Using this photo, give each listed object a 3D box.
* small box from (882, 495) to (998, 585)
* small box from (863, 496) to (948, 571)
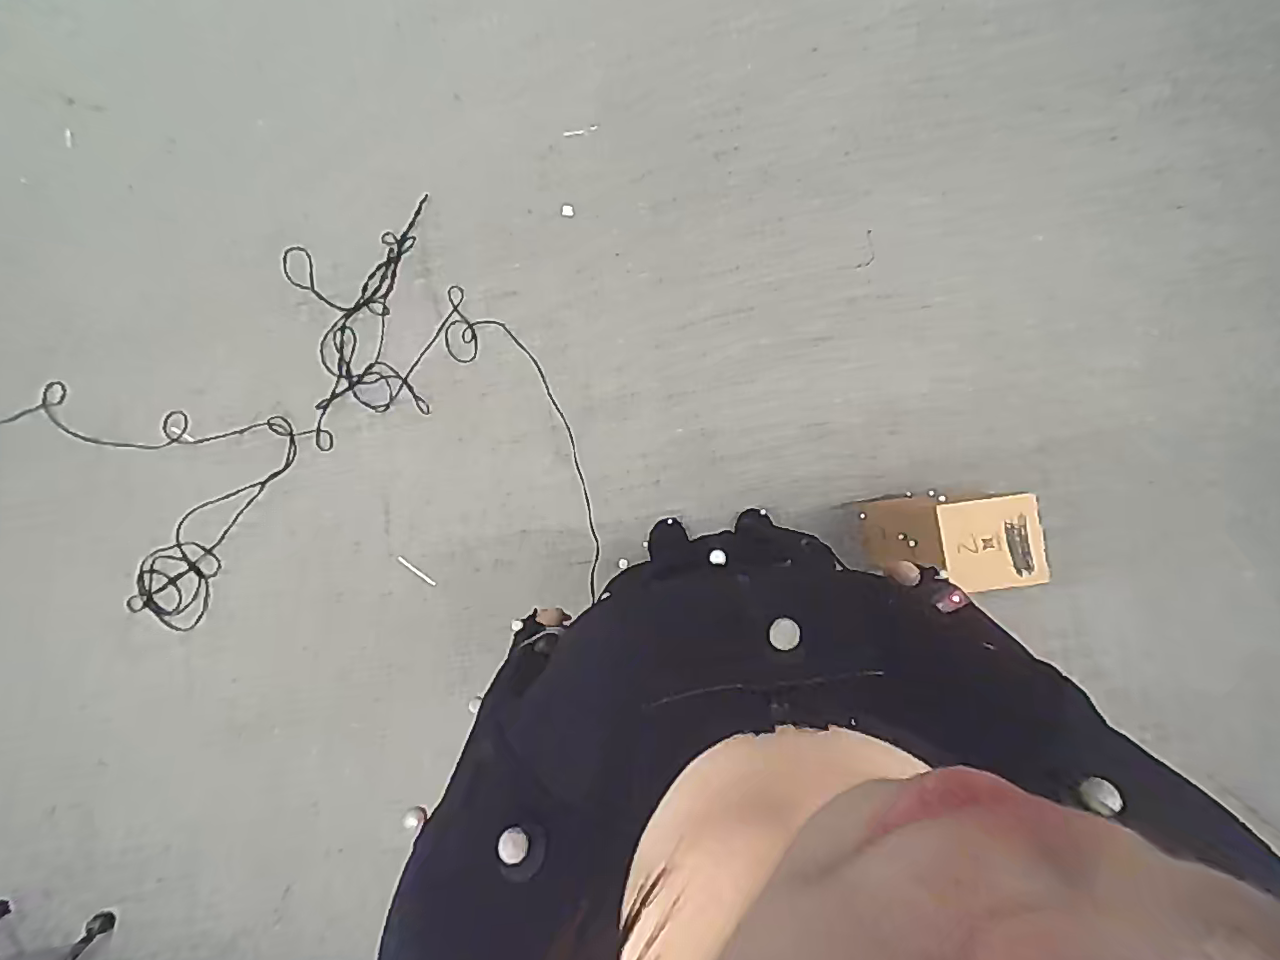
[{"bbox_3d":[0.666,0.132,1.221,0.168,0.176,0.179,-8,87,6],"label":"small box"},{"bbox_3d":[0.687,0.136,1.384,0.179,0.176,0.168,-9,87,4],"label":"small box"}]
